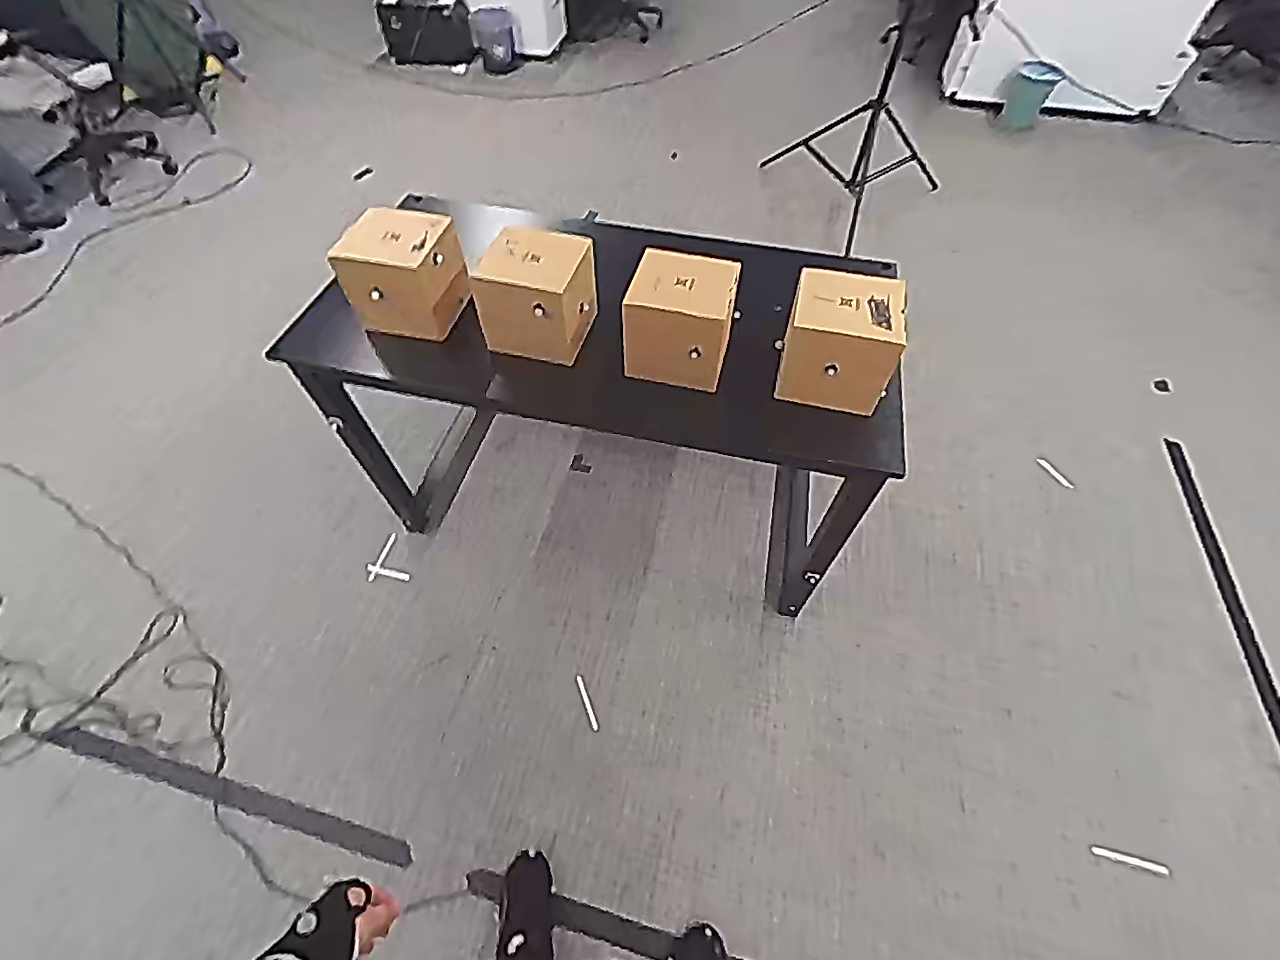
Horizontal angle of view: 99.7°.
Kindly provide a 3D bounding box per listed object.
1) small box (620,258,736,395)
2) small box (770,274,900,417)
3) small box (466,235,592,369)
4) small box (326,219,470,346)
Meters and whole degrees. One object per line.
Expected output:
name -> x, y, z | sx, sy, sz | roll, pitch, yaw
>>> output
small box -> 0.067, -0.277, 0.992 | 0.179, 0.176, 0.168 | 11, 54, 7
small box -> 0.341, -0.234, 0.959 | 0.179, 0.176, 0.168 | 12, 55, 10
small box -> -0.197, -0.334, 1.030 | 0.179, 0.176, 0.168 | 12, 55, 8
small box -> -0.463, -0.386, 1.067 | 0.179, 0.176, 0.168 | 9, 56, 7
